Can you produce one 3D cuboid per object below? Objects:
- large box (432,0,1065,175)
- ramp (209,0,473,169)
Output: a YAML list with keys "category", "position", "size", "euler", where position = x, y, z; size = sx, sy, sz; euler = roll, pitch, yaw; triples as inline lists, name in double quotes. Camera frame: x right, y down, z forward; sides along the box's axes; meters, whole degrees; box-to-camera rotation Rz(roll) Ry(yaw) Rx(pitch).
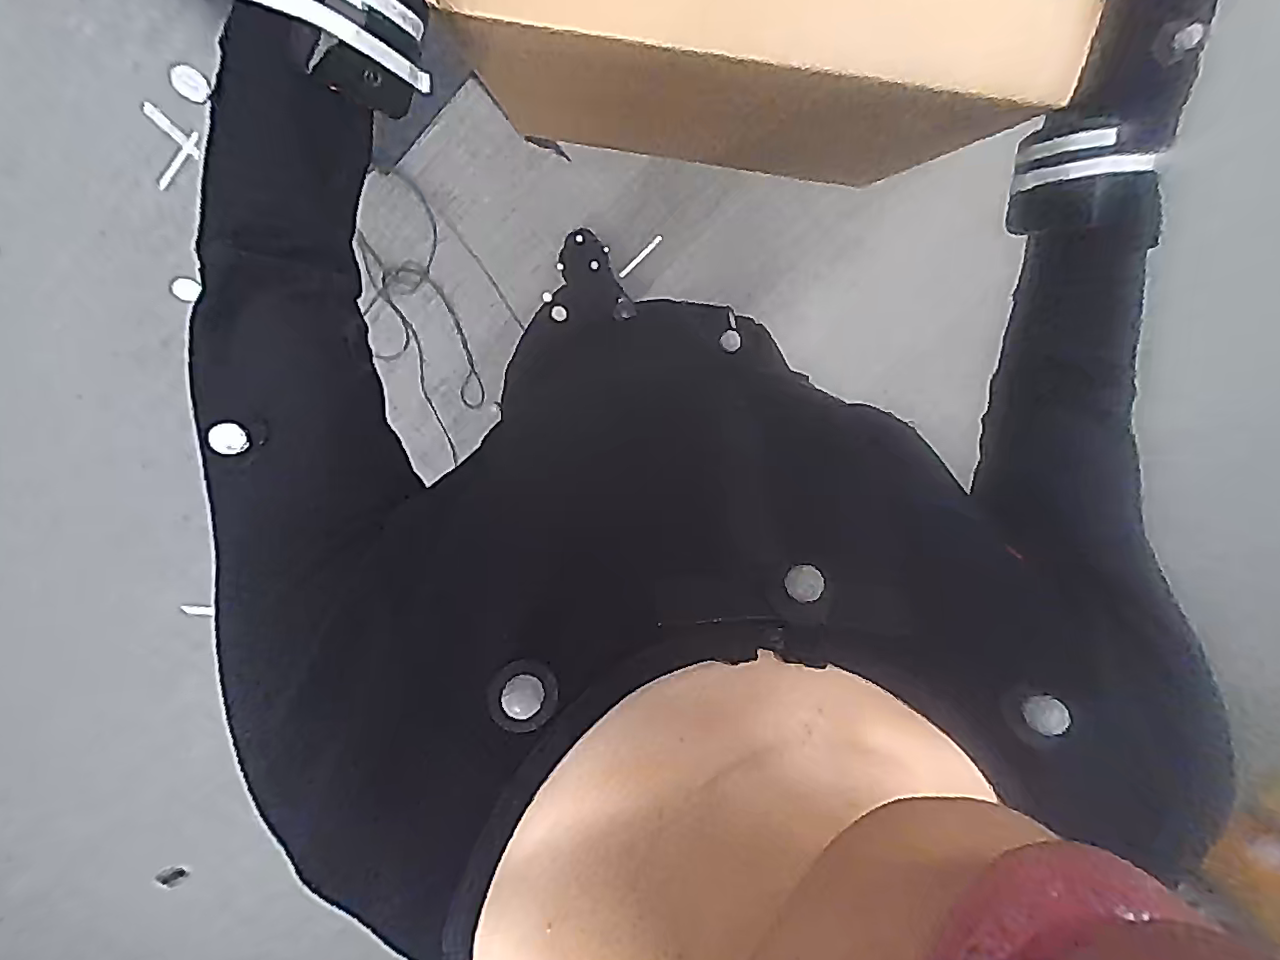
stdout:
- category: "large box"
  position: [0.074, -0.464, 0.434]
  size: [0.408, 0.320, 0.320]
  euler: [5, 110, -4]
- category: "ramp"
  position: [-0.750, -1.185, 1.008]
  size: [0.509, 0.206, 0.991]
  euler: [-44, 105, 10]
